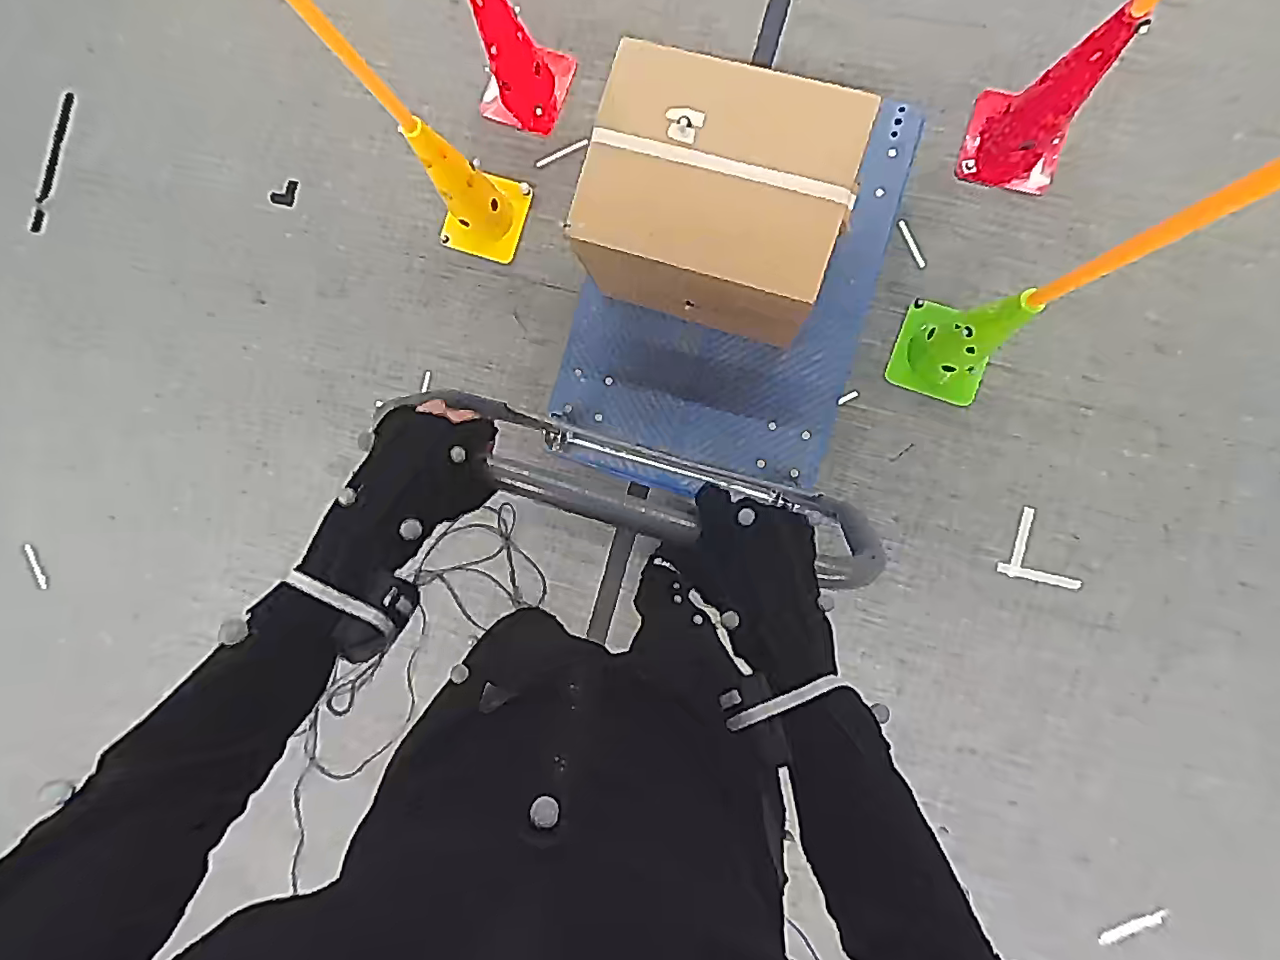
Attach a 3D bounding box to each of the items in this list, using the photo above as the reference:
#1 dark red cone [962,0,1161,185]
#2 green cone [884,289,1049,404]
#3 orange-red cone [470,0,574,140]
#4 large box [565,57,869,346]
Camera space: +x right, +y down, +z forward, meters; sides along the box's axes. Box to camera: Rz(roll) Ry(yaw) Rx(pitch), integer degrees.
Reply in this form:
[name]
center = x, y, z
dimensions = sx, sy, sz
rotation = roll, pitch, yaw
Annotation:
[dark red cone]
center = 0.801, -0.750, 1.010
dimensions = 0.201, 0.394, 0.202
rotation = 15, 93, 5
[green cone]
center = 0.656, -0.289, 1.051
dimensions = 0.202, 0.368, 0.200
rotation = 19, 93, 6
[orange-red cone]
center = -0.300, -0.967, 1.175
dimensions = 0.198, 0.360, 0.199
rotation = 23, 92, 6
[large box]
center = 0.133, -0.465, 0.976
dimensions = 0.408, 0.320, 0.320
rotation = 18, 94, 8
